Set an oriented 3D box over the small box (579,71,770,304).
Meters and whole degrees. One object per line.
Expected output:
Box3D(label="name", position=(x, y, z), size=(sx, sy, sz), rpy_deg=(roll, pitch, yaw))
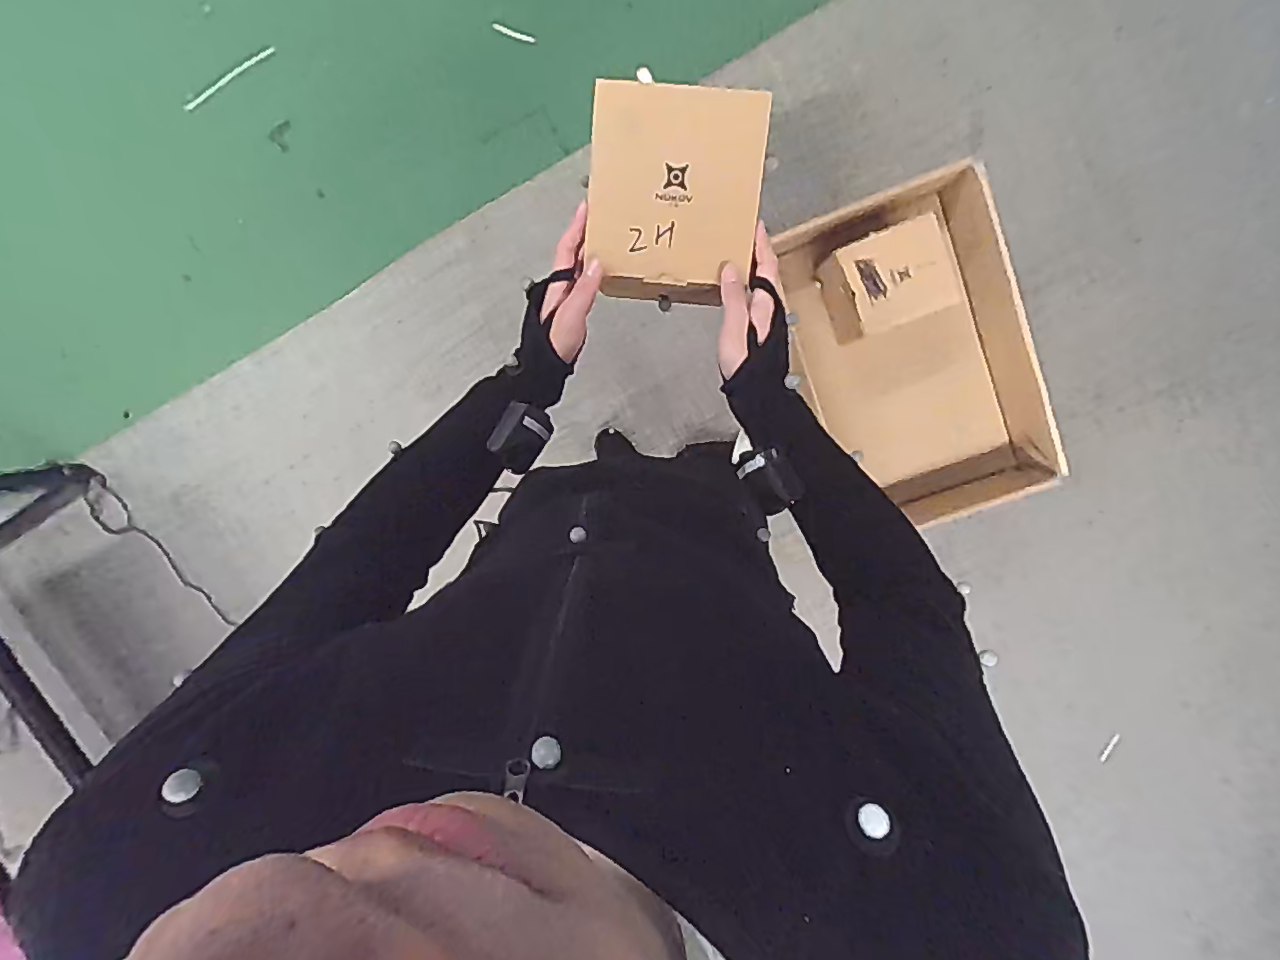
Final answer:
Box3D(label="small box", position=(0.033, -0.295, 0.583), size=(0.168, 0.176, 0.179), rpy_deg=(6, 103, 2))
